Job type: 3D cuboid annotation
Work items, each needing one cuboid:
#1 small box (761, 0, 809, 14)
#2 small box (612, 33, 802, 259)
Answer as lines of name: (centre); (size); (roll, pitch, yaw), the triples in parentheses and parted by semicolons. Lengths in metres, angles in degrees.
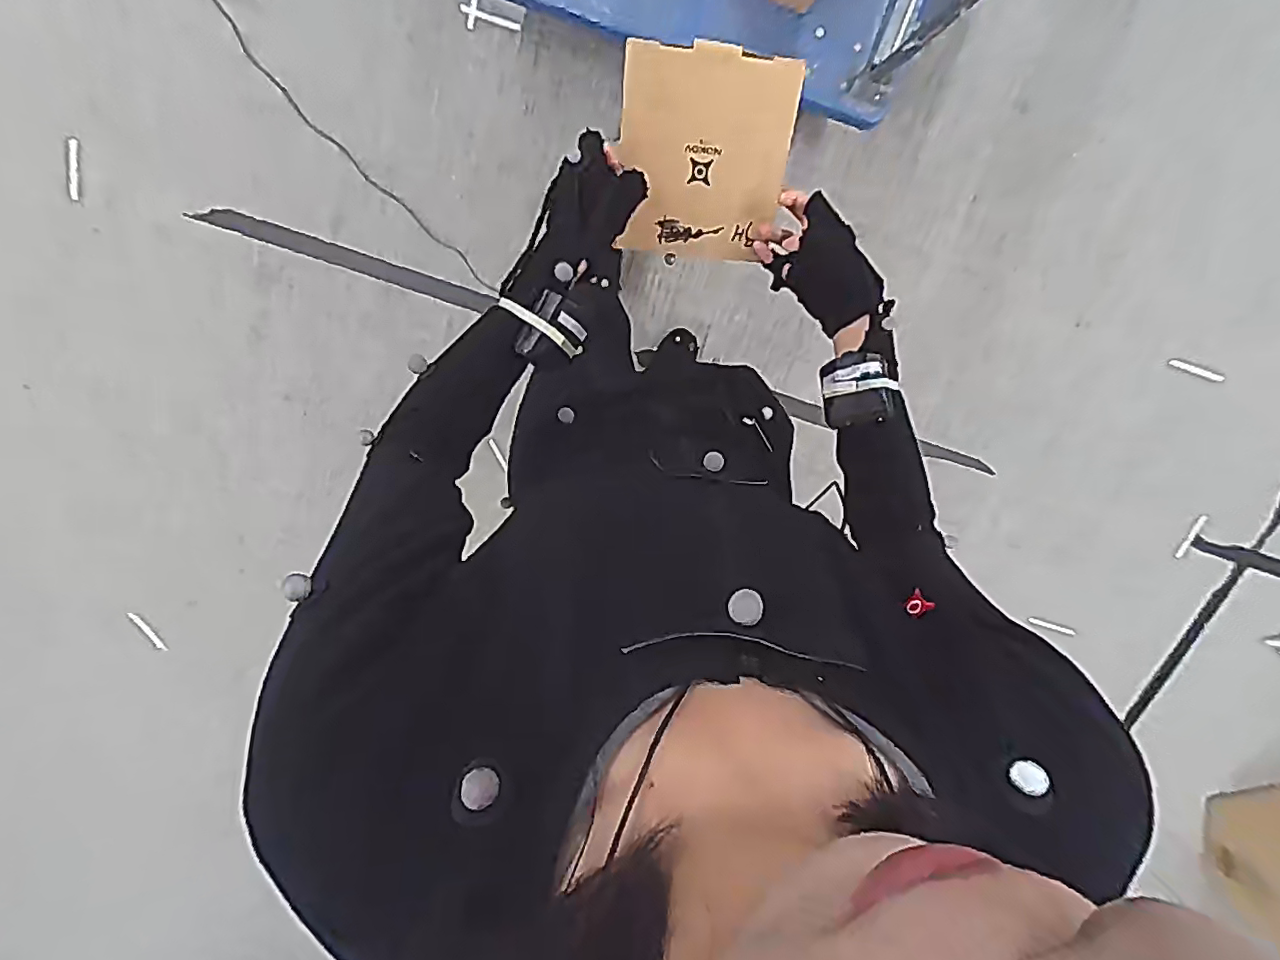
small box: (0.259, -0.973, 0.946); (0.179, 0.176, 0.168); (18, 107, -6)
small box: (0.058, -0.357, 0.597); (0.168, 0.176, 0.179); (5, 121, -3)
